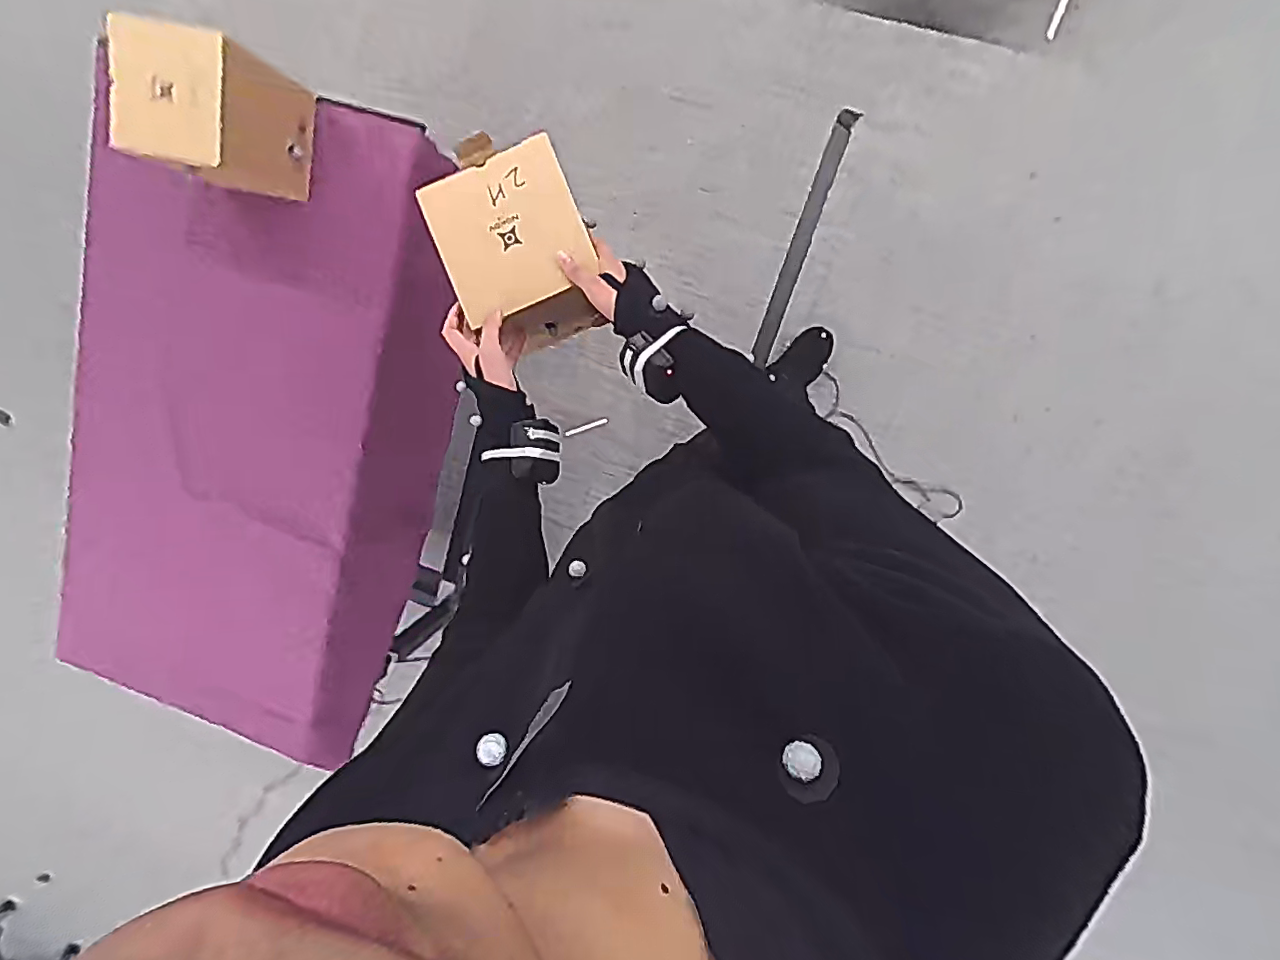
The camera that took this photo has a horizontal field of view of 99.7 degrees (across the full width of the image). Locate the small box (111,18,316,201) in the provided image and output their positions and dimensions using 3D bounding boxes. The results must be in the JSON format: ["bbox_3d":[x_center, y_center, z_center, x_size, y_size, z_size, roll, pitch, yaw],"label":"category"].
[{"bbox_3d":[-0.626,-0.536,0.806,0.179,0.176,0.168,14,104,7],"label":"small box"}]

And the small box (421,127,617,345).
[{"bbox_3d":[-0.136,-0.284,0.681,0.168,0.176,0.179,-21,89,3],"label":"small box"}]
